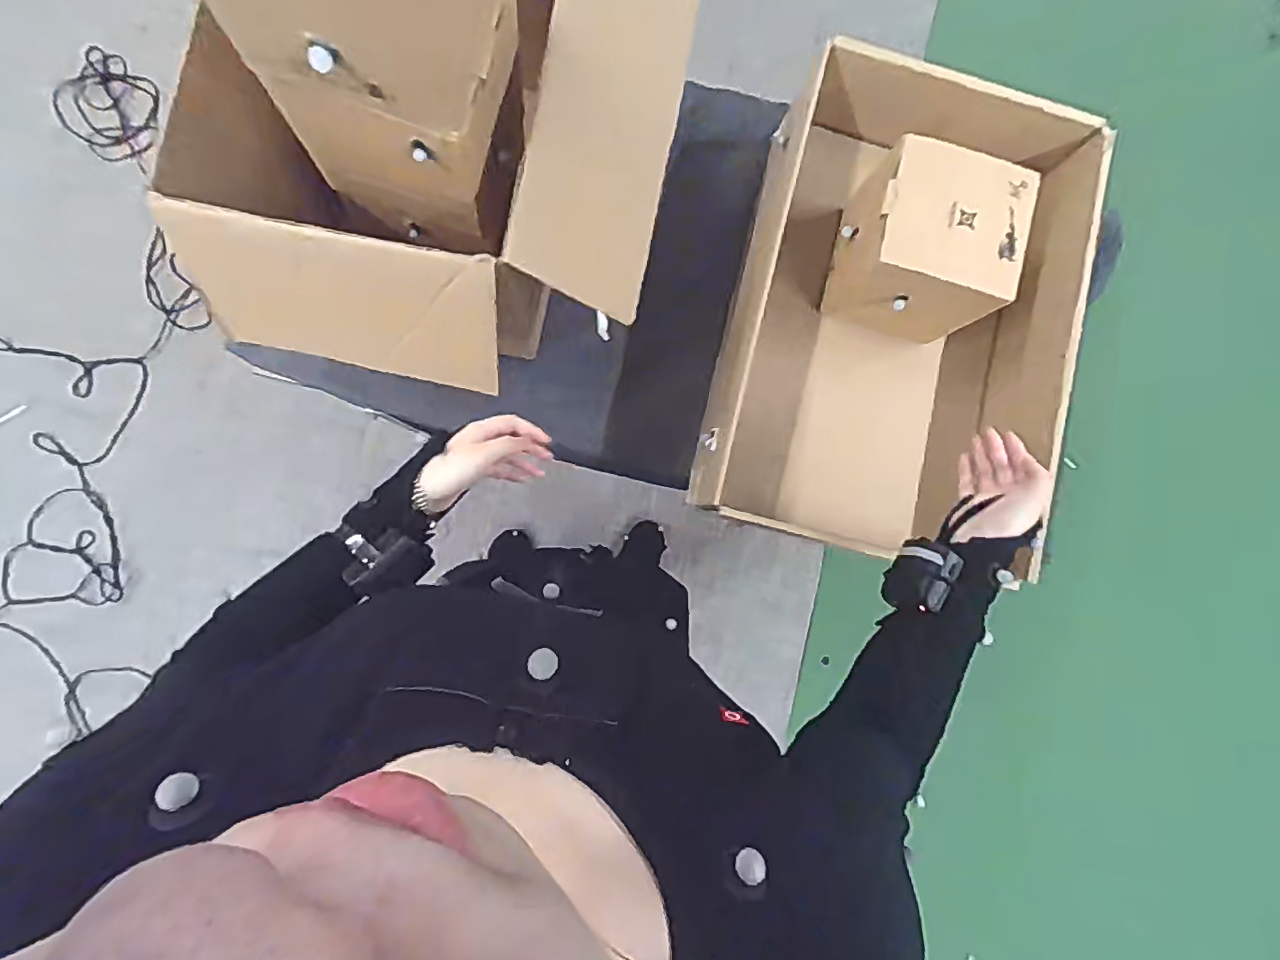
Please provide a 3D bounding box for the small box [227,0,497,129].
[{"bbox_3d":[-0.196,-0.400,0.376,0.168,0.176,0.179,12,85,-9],"label":"small box"}]
